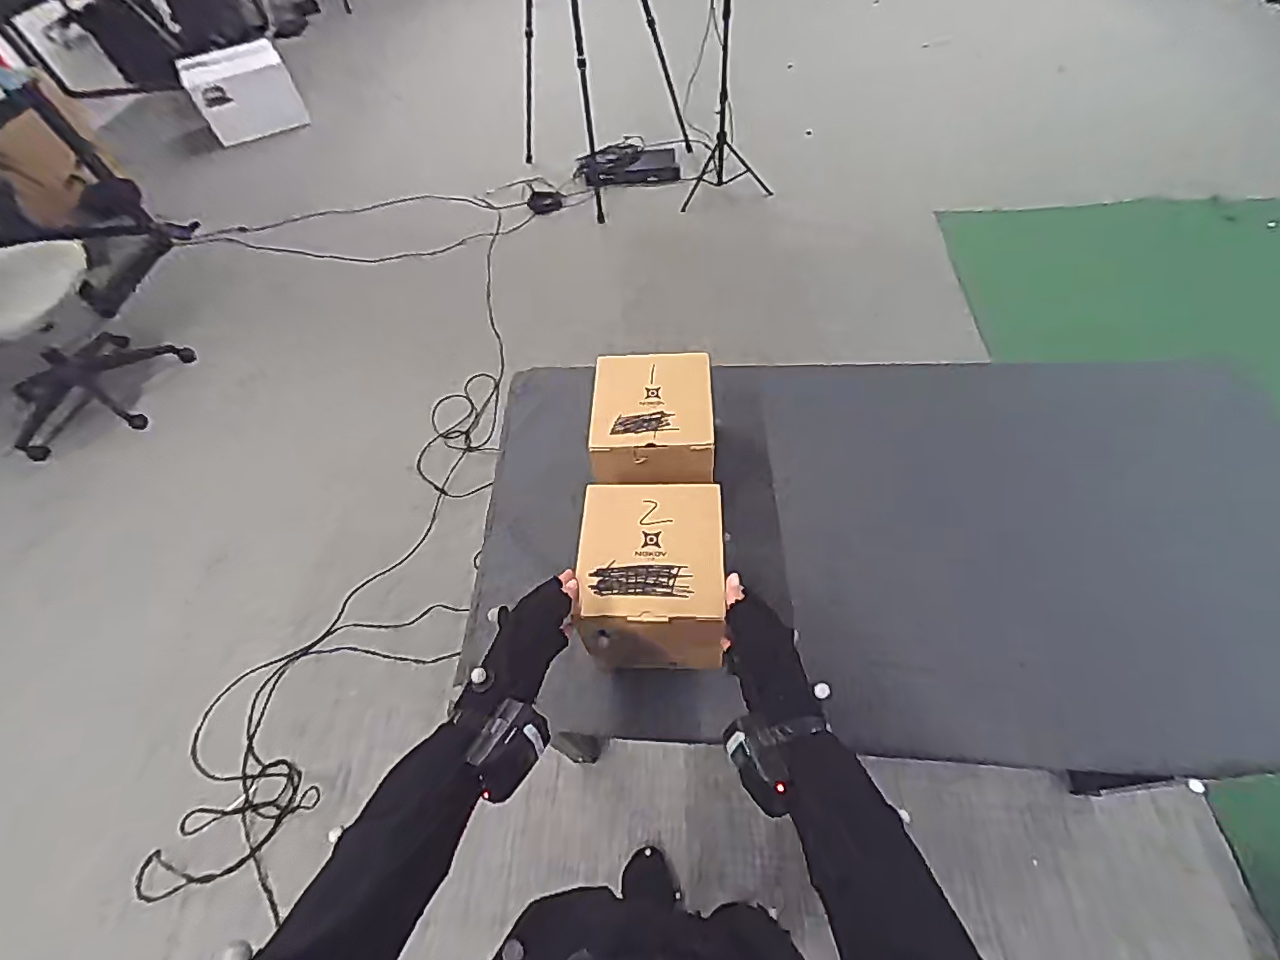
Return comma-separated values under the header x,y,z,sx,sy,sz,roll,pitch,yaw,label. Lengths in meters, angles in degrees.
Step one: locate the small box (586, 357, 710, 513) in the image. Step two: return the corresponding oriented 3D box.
x,y,z,sx,sy,sz,roll,pitch,yaw,label
0.020,-0.062,0.810,0.168,0.176,0.179,0,54,4,small box
